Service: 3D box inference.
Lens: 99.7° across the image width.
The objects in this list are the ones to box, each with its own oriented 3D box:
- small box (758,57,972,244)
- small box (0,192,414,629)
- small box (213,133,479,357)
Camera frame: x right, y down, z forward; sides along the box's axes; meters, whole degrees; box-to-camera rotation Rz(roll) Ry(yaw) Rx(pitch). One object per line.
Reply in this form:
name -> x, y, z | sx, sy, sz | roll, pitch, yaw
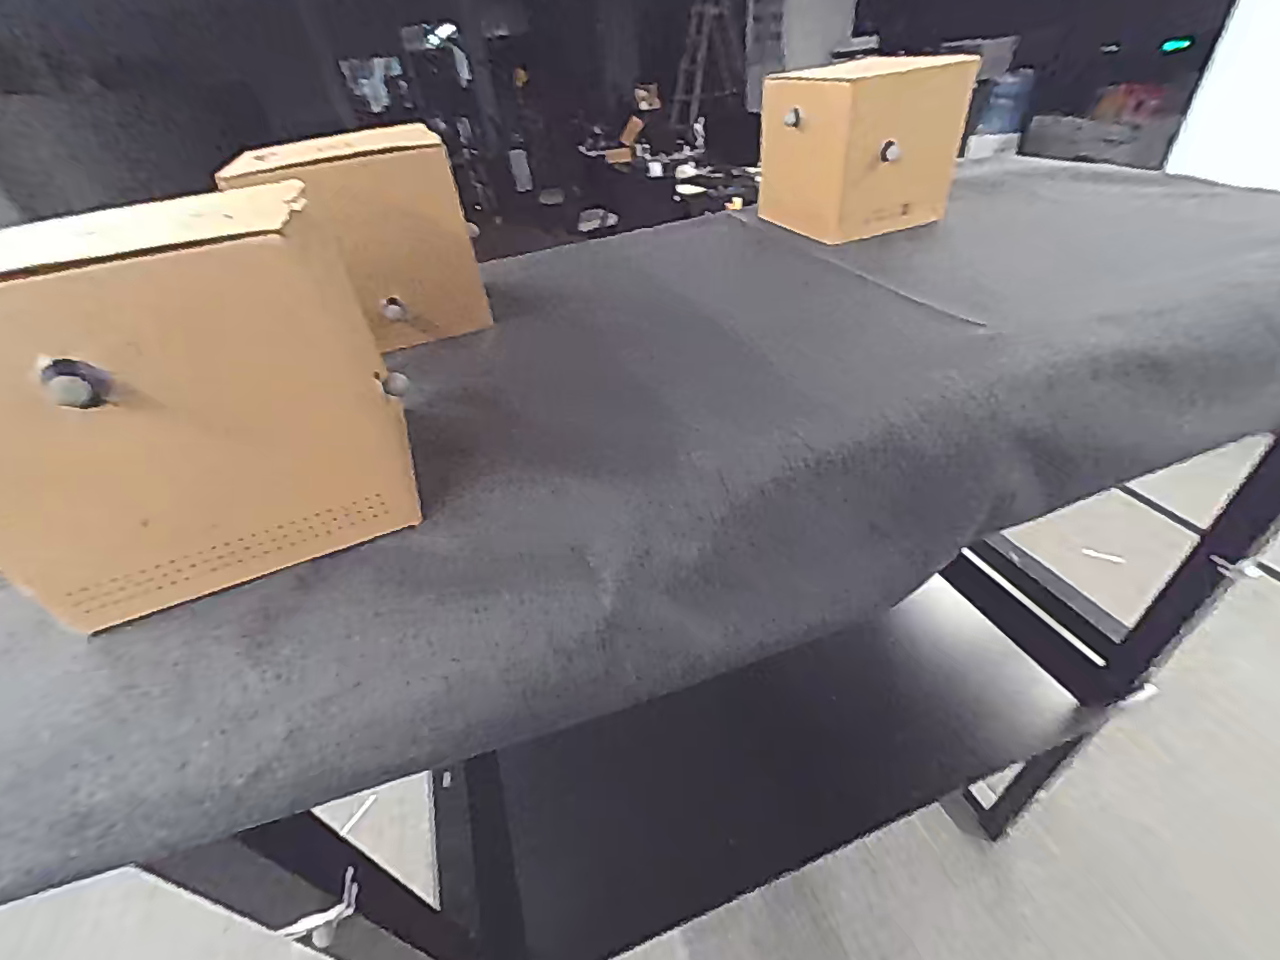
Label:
small box -> 0.262, -0.409, 0.675 | 0.168, 0.176, 0.179 | -18, 40, -12
small box -> -0.251, -0.048, 0.308 | 0.179, 0.176, 0.168 | -19, 39, -15
small box -> -0.272, -0.233, 0.544 | 0.179, 0.176, 0.168 | -18, 40, -14
